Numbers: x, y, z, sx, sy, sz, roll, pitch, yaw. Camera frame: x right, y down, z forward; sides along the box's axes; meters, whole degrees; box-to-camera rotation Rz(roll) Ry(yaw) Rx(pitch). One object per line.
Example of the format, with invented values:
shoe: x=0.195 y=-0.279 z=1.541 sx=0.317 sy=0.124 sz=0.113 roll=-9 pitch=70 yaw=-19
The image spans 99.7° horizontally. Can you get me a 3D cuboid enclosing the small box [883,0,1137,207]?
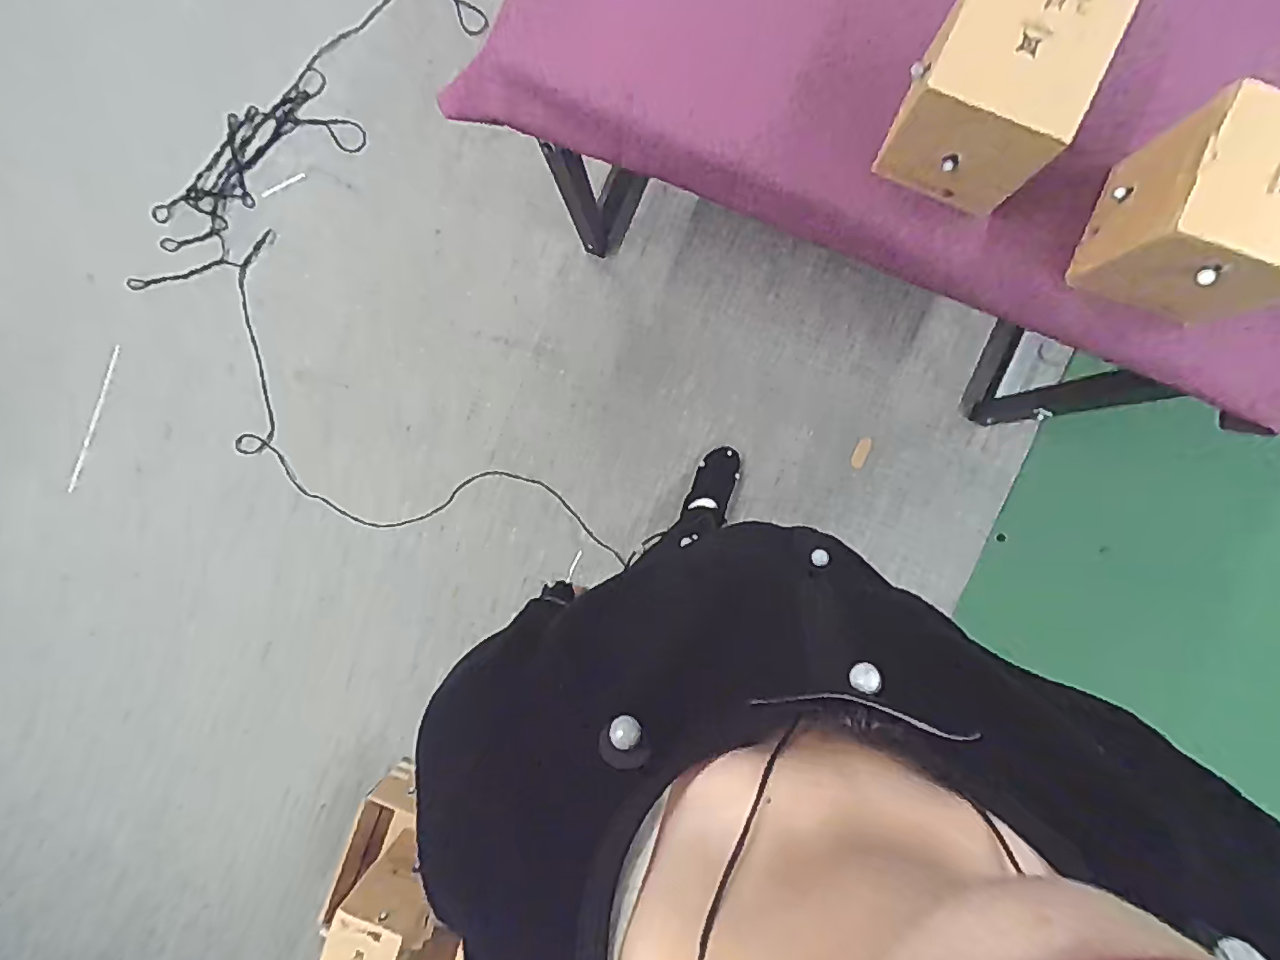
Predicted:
small box: x=0.422 y=-0.472 z=0.654 sx=0.168 sy=0.176 sz=0.179 roll=25 pitch=92 yaw=4

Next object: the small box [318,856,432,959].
small box: x=-0.623 y=1.056 z=1.285 sx=0.168 sy=0.176 sz=0.179 roll=20 pitch=92 yaw=3

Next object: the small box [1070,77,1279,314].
small box: x=0.676 y=-0.314 z=0.637 sx=0.179 sy=0.176 sz=0.168 roll=22 pitch=94 yaw=5

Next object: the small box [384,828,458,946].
small box: x=-0.613 y=1.079 z=1.448 sx=0.179 sy=0.176 sz=0.168 roll=16 pitch=91 yaw=4
